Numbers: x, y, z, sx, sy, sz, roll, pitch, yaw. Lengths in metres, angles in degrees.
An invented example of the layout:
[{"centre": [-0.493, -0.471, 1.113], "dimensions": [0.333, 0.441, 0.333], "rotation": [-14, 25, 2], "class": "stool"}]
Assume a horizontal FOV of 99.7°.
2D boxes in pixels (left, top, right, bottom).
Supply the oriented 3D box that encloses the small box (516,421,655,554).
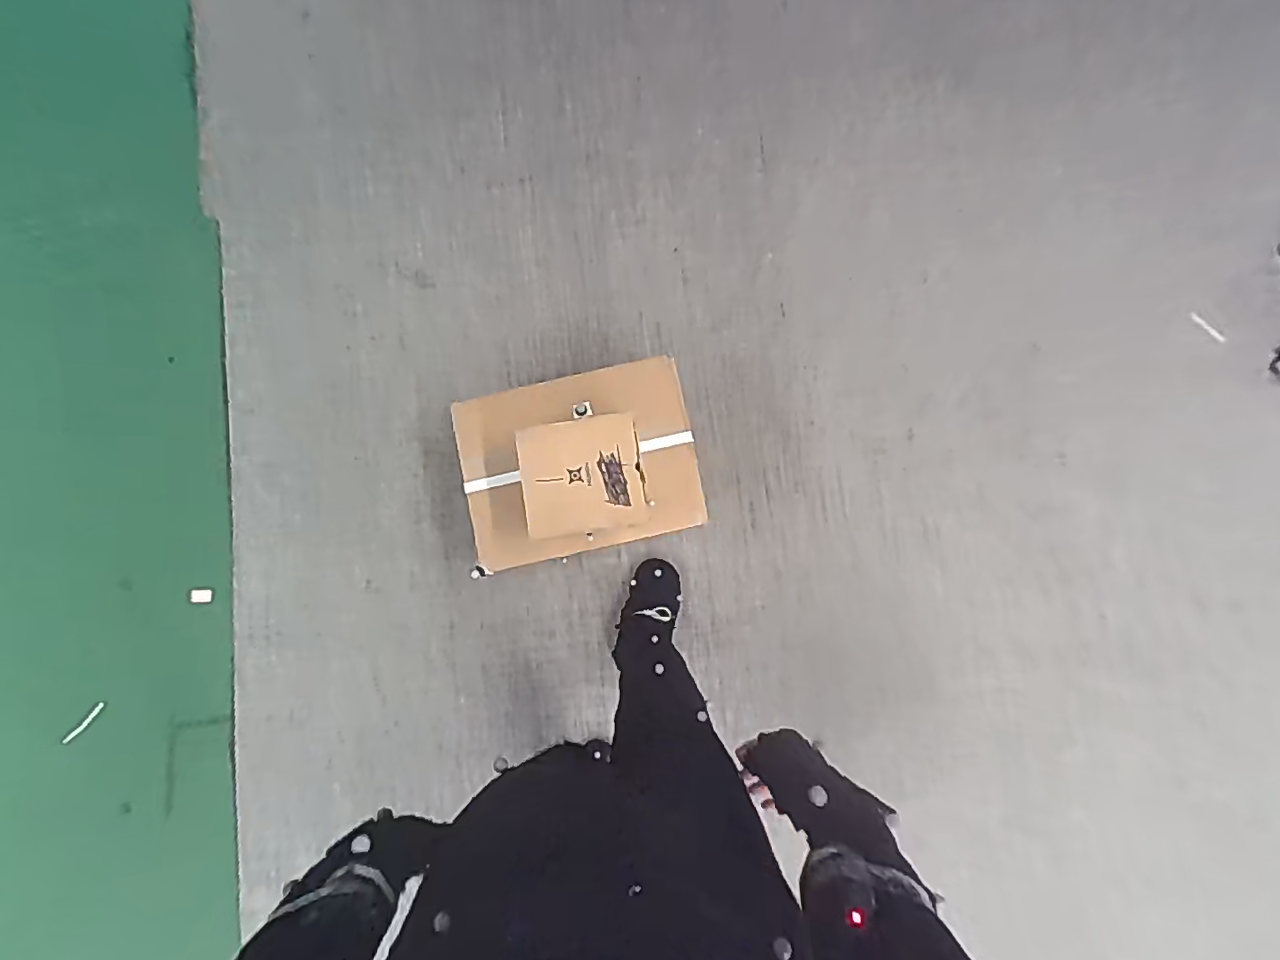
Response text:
[{"centre": [-0.080, 0.015, 0.850], "dimensions": [0.179, 0.176, 0.168], "rotation": [-12, 86, -1], "class": "small box"}]
